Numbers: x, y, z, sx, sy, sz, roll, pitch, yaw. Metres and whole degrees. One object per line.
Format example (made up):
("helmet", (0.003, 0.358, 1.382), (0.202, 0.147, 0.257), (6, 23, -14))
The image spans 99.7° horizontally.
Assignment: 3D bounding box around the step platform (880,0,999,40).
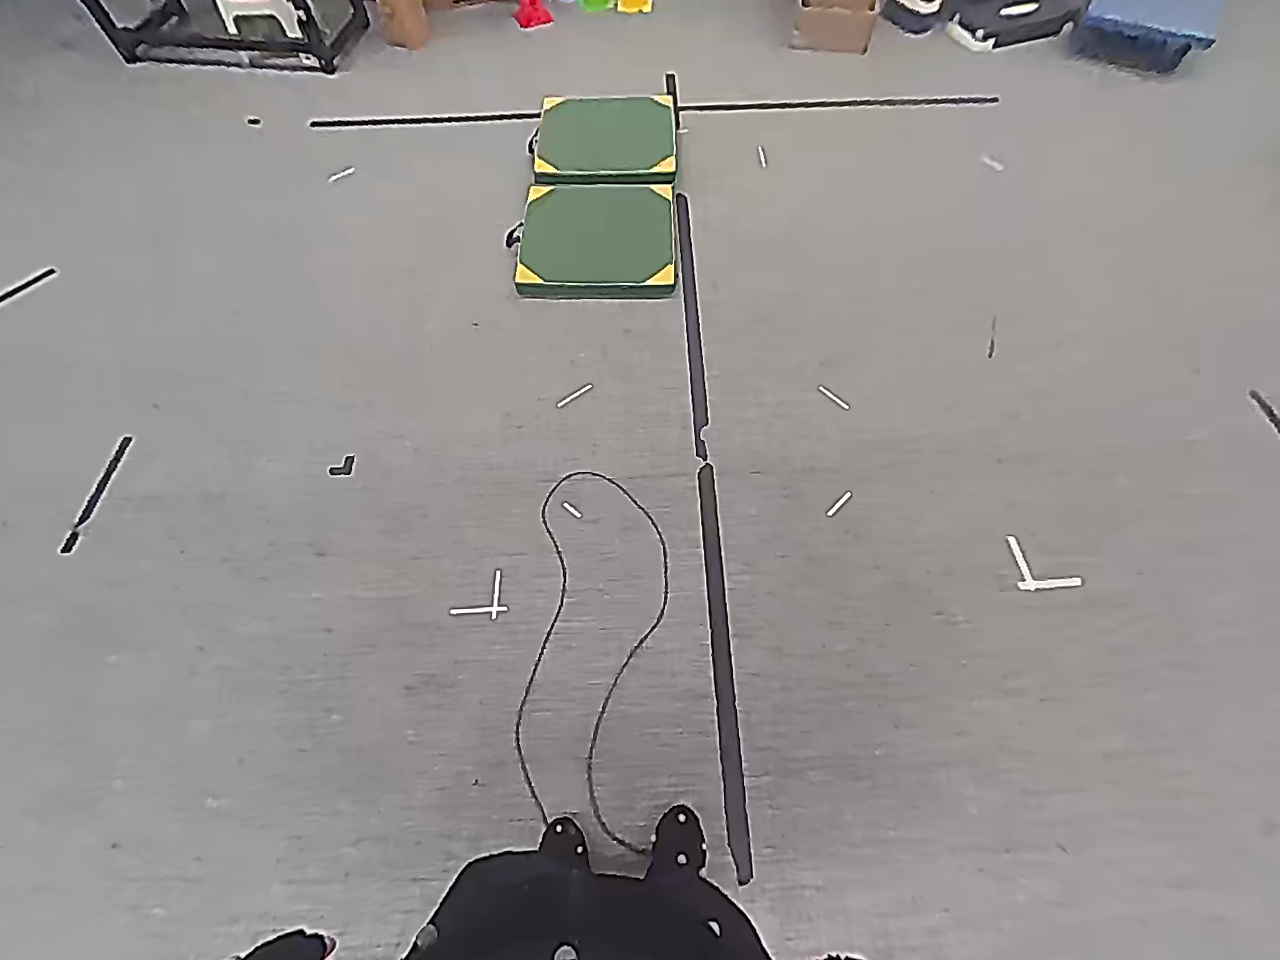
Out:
("step platform", (1.711, -2.709, 3.034), (0.684, 0.204, 0.286), (-27, 65, -13))
